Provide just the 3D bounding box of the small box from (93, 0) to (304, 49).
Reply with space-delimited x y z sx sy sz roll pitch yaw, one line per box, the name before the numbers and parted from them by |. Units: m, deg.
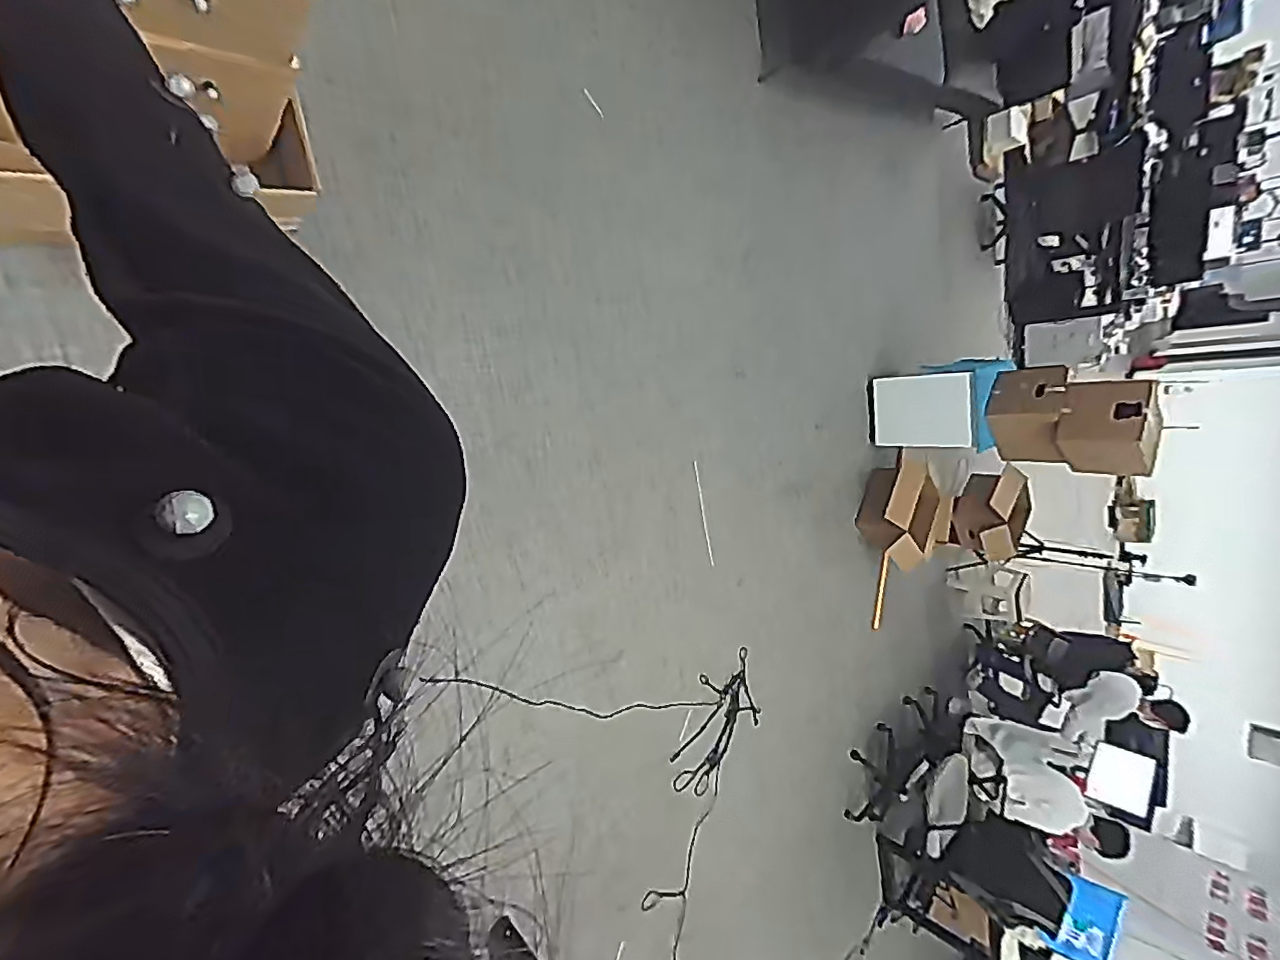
small box | -0.438 -0.559 0.516 0.179 0.176 0.168 -15 104 -39
